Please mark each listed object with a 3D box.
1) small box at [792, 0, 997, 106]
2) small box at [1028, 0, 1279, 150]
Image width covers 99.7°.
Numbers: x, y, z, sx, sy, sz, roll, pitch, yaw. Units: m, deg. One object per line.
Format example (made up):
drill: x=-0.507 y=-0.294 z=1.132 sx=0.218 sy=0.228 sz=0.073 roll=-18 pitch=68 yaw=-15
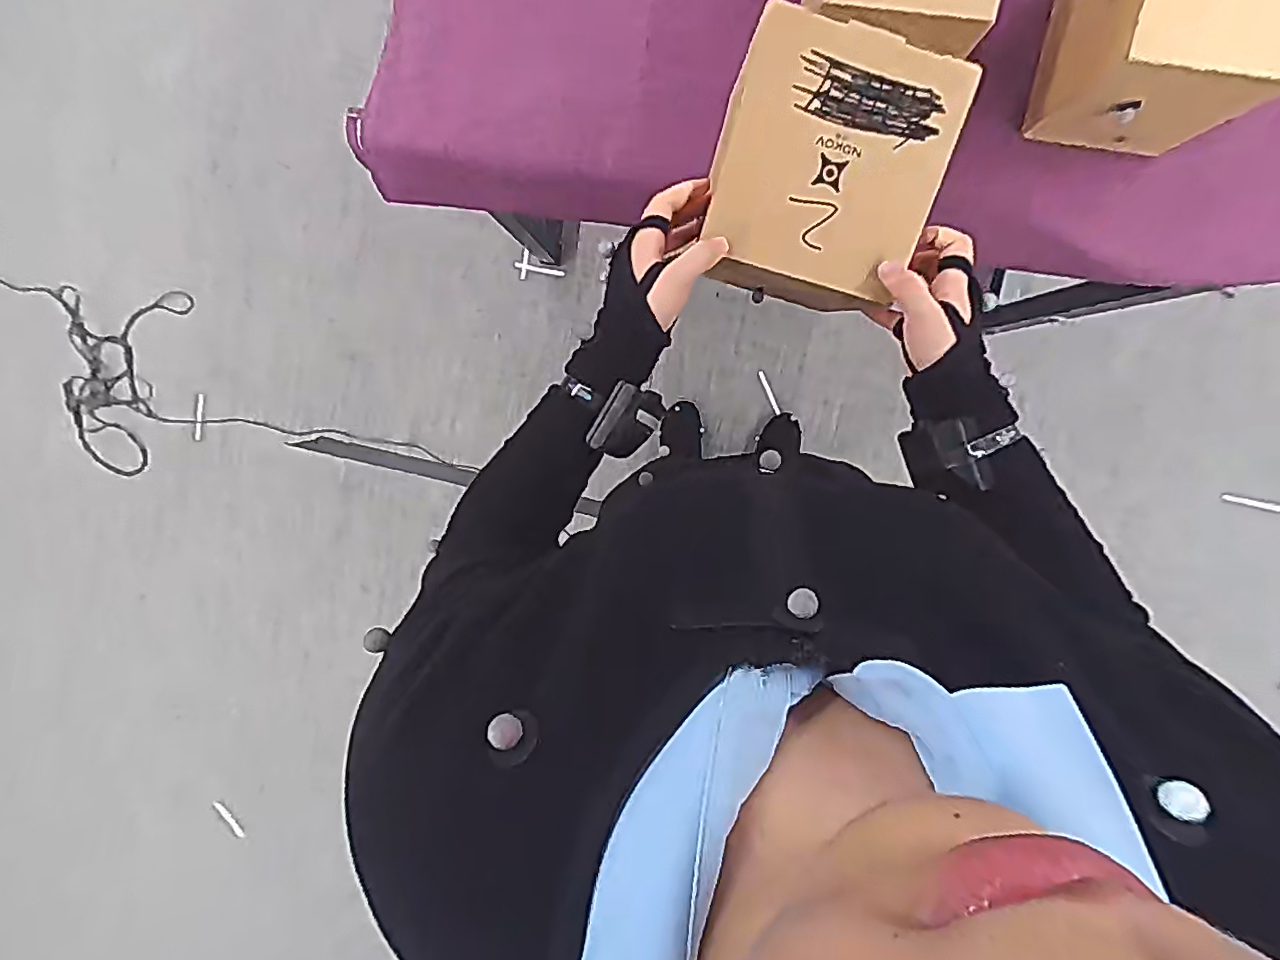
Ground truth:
small box: x=0.271 y=-0.541 z=0.579 sx=0.168 sy=0.176 sz=0.179 roll=9 pitch=98 yaw=1
small box: x=0.556 y=-0.481 z=0.570 sx=0.168 sy=0.176 sz=0.179 roll=10 pitch=99 yaw=3
